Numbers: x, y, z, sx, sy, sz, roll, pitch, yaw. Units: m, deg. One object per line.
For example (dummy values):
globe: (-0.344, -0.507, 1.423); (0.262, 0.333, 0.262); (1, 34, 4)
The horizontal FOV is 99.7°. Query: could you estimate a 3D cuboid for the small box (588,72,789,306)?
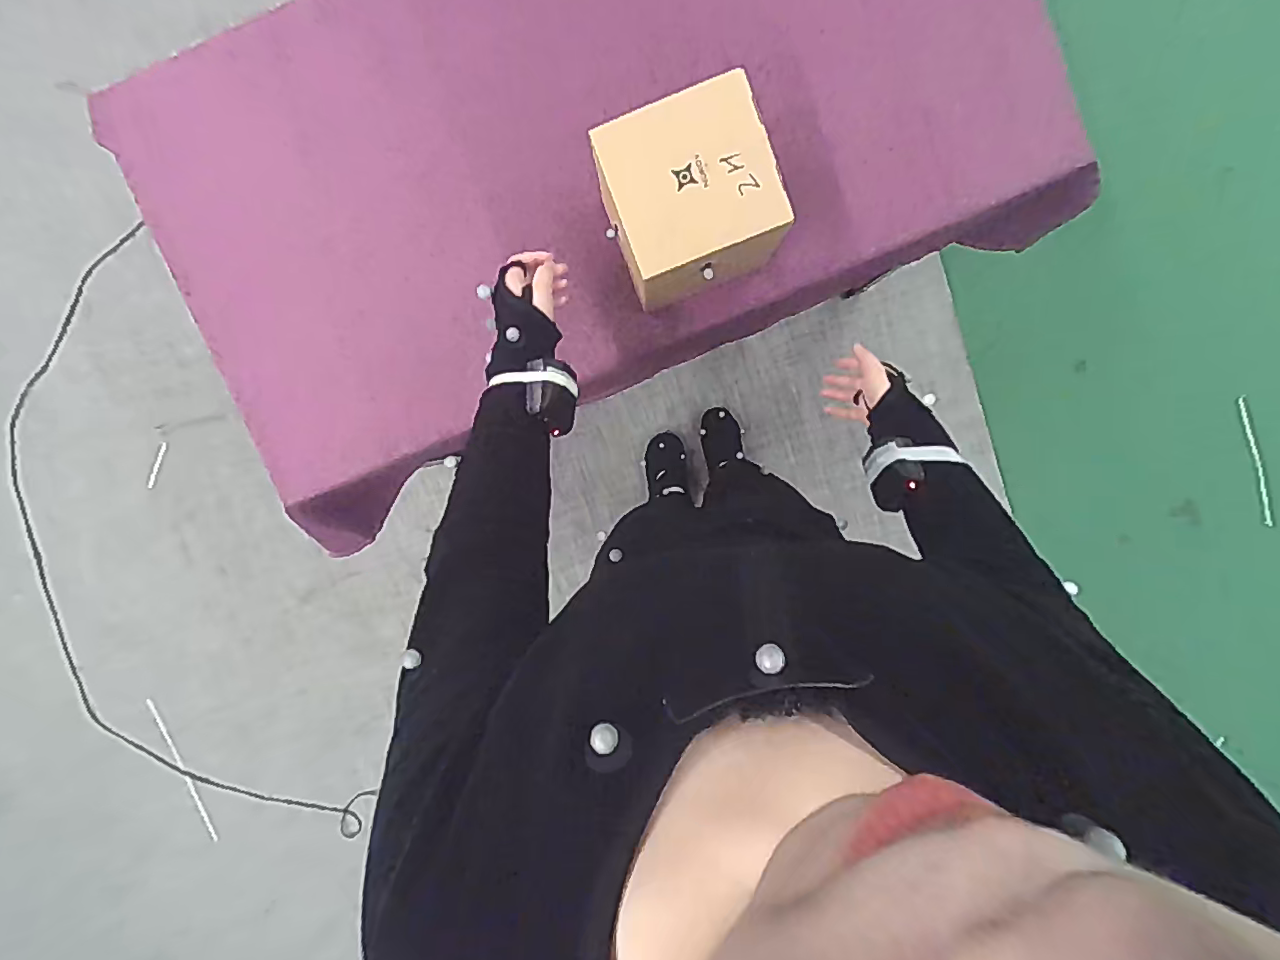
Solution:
small box: (0.054, -0.328, 0.652); (0.179, 0.176, 0.168); (-20, 96, 3)
